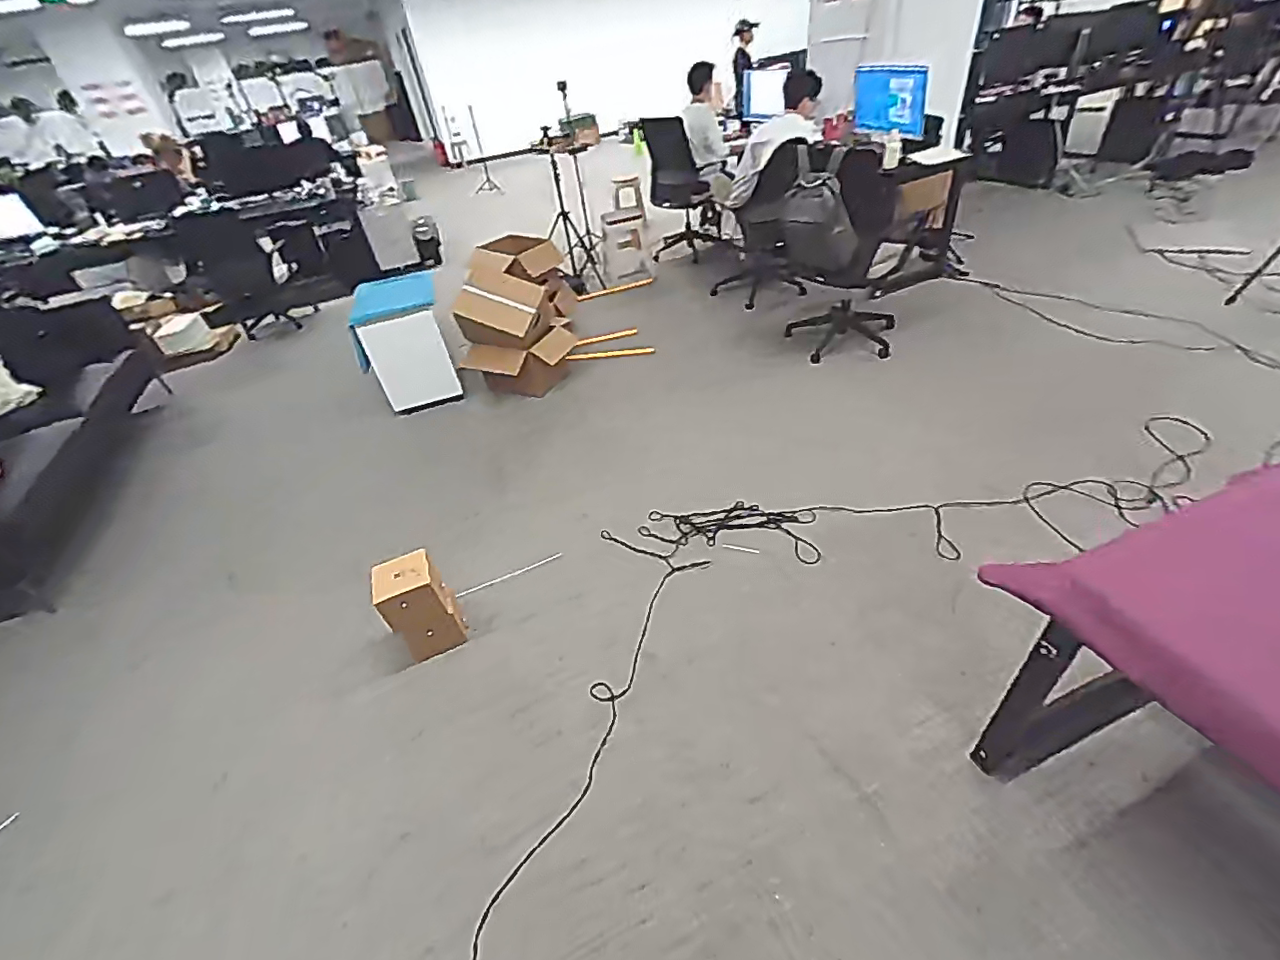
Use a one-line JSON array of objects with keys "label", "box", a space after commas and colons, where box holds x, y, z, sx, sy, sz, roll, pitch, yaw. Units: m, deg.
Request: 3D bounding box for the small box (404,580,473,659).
[{"label": "small box", "box": [-0.696, 0.484, 1.863, 0.179, 0.176, 0.168, -20, 40, -13]}]

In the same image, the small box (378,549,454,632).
[{"label": "small box", "box": [-0.728, 0.361, 1.757, 0.179, 0.176, 0.168, -21, 41, -13]}]
